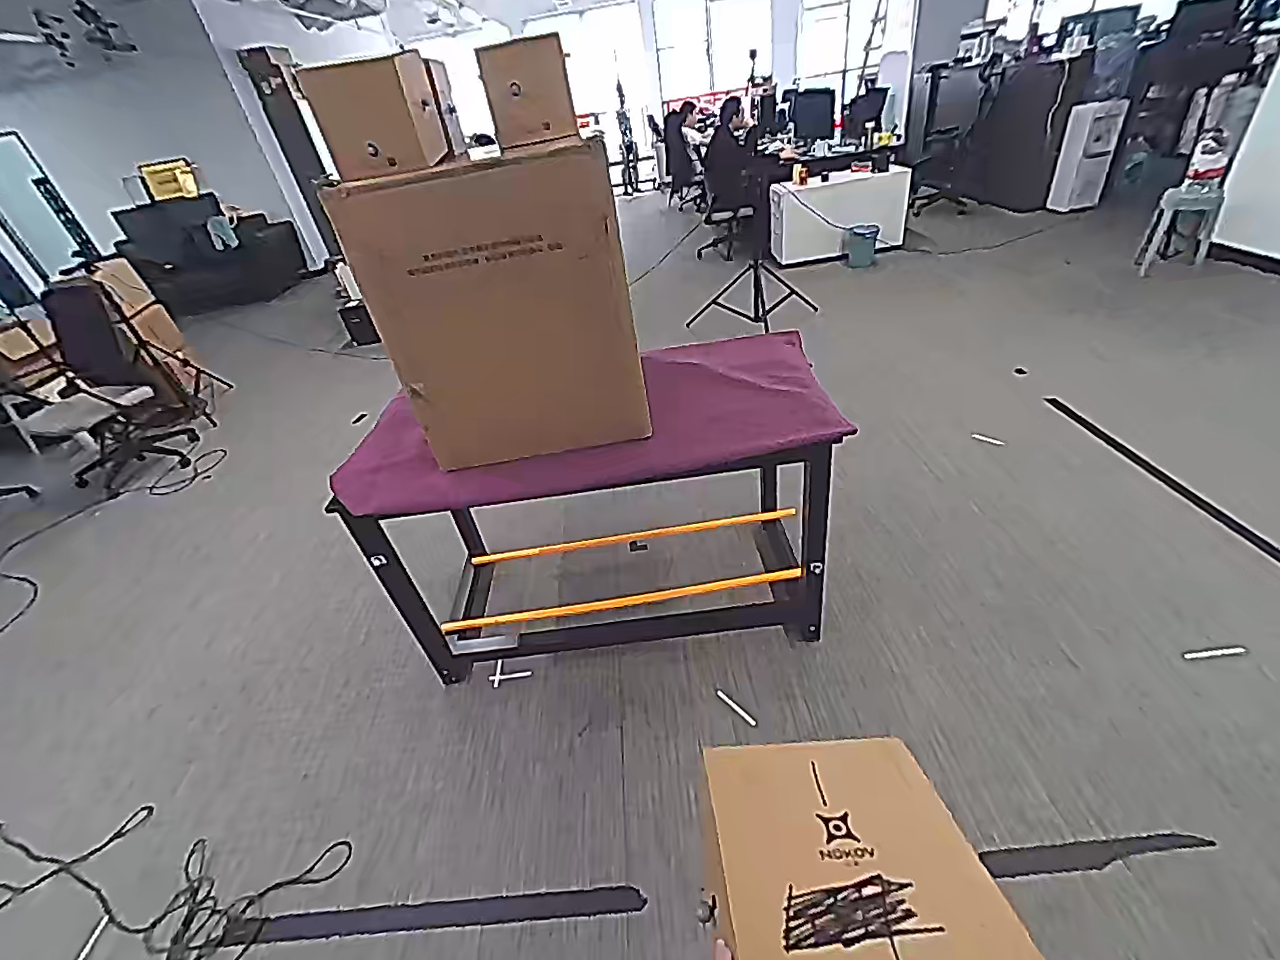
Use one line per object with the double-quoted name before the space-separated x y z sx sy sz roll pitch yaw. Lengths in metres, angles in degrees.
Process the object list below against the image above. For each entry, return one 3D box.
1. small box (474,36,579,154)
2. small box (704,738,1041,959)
"small box" -0.223 -0.783 1.112 0.168 0.176 0.179 -11 35 1
"small box" 0.139 0.318 0.383 0.168 0.176 0.179 -3 16 0
